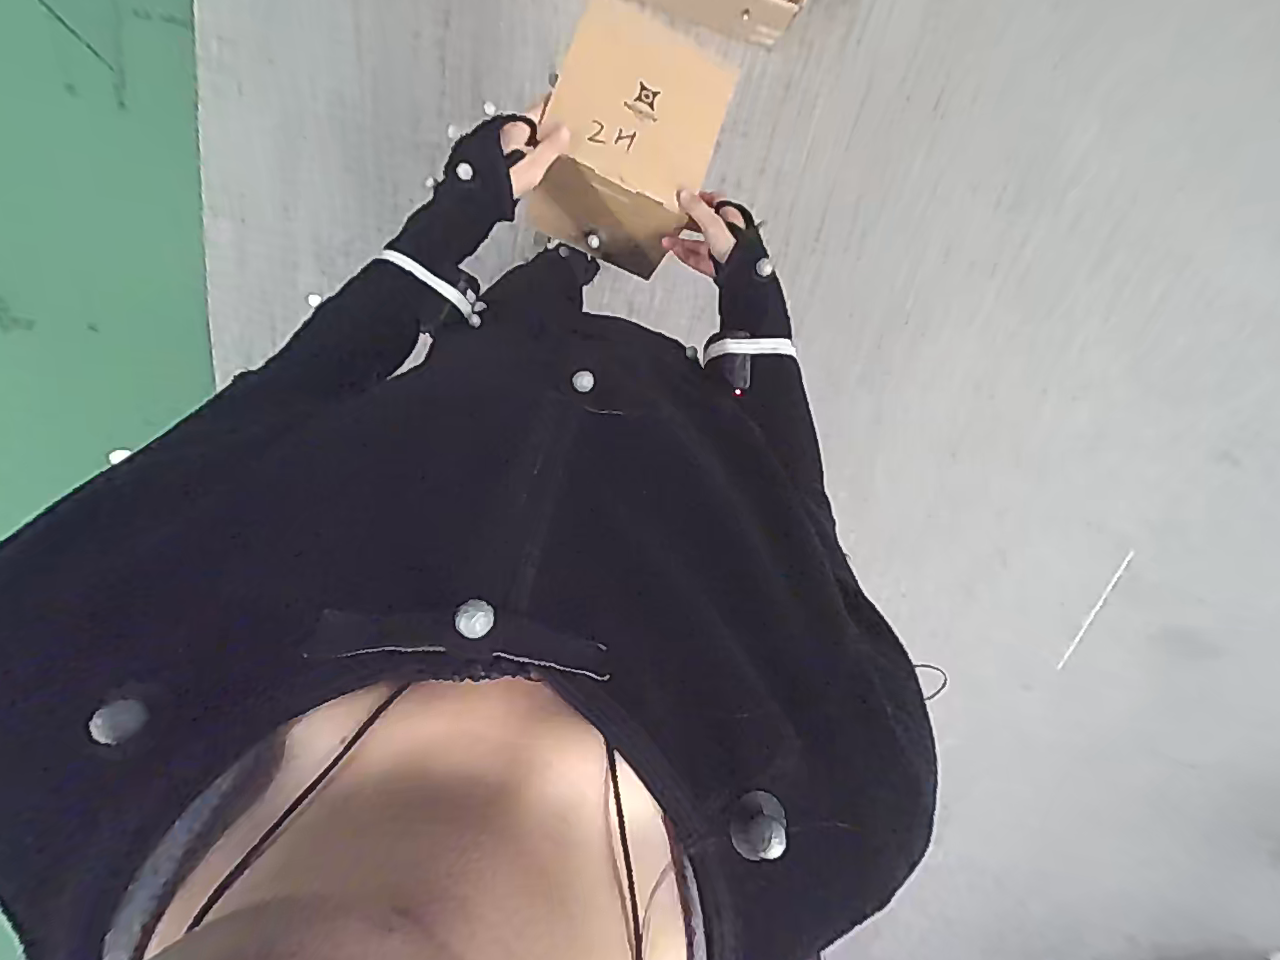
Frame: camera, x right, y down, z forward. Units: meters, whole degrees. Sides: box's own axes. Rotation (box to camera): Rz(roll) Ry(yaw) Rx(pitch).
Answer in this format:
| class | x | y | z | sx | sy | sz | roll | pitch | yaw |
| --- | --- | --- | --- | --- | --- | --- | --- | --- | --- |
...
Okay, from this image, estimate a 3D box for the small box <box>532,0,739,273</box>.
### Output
| class | x | y | z | sx | sy | sz | roll | pitch | yaw |
| --- | --- | --- | --- | --- | --- | --- | --- | --- | --- |
| small box | -0.018 | -0.371 | 0.609 | 0.168 | 0.176 | 0.179 | 21 | 84 | -12 |
